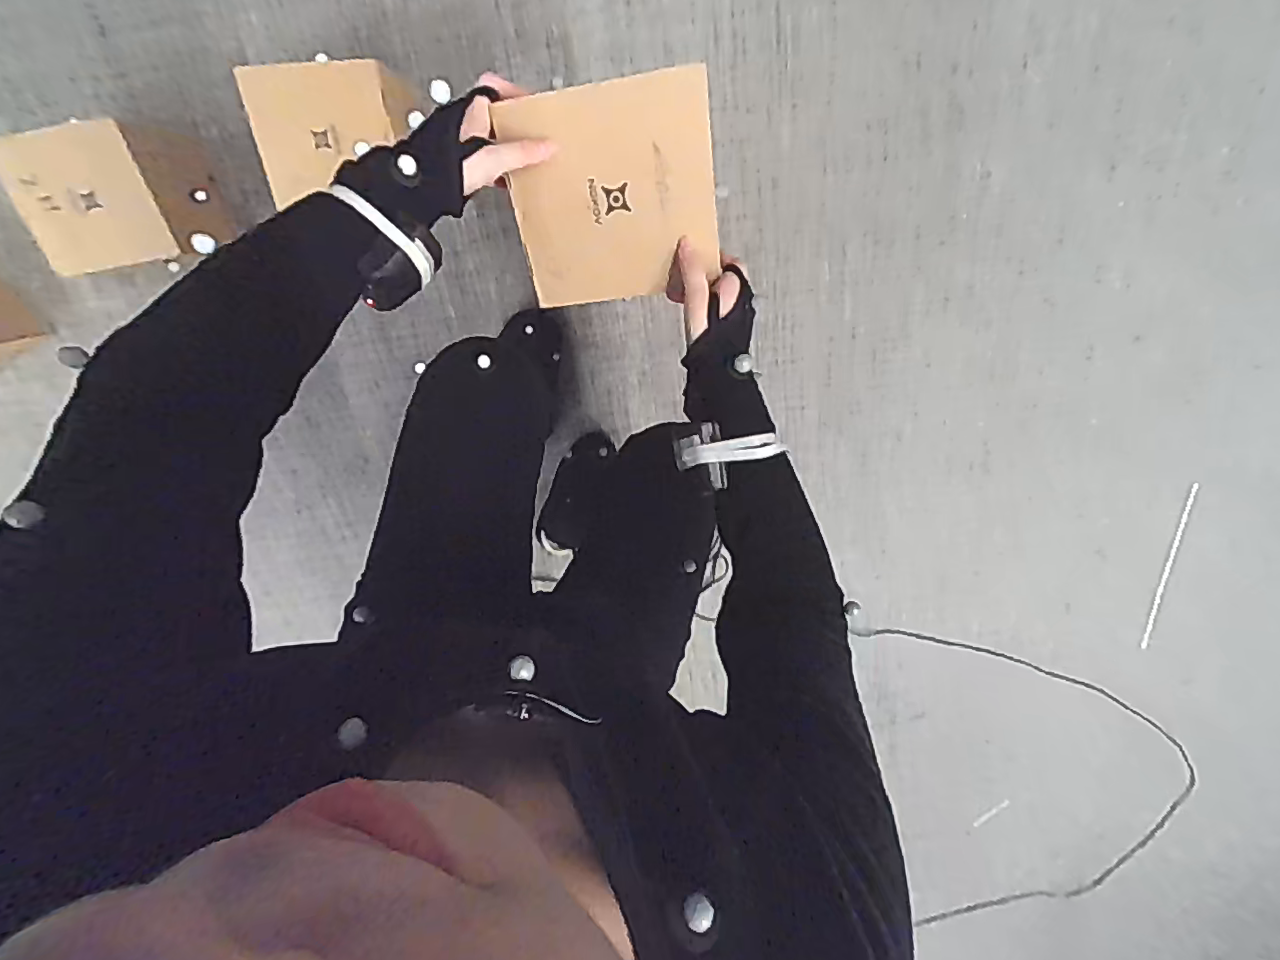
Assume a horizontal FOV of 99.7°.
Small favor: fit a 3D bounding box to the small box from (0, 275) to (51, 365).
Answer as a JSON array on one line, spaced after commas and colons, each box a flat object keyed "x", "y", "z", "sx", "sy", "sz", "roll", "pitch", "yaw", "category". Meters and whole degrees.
[{"x": -1.097, "y": -0.250, "z": 0.827, "sx": 0.168, "sy": 0.176, "sz": 0.179, "roll": -25, "pitch": 114, "yaw": 8, "category": "small box"}]

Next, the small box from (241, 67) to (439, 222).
[{"x": -0.411, "y": -0.468, "z": 0.777, "sx": 0.179, "sy": 0.176, "sz": 0.168, "roll": -5, "pitch": 115, "yaw": -3, "category": "small box"}]

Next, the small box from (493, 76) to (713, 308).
[{"x": -0.019, "y": -0.283, "z": 0.540, "sx": 0.179, "sy": 0.176, "sz": 0.168, "roll": -4, "pitch": 123, "yaw": 8, "category": "small box"}]

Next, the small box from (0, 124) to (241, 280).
[{"x": -0.729, "y": -0.395, "z": 0.784, "sx": 0.179, "sy": 0.176, "sz": 0.168, "roll": -10, "pitch": 114, "yaw": 0, "category": "small box"}]
